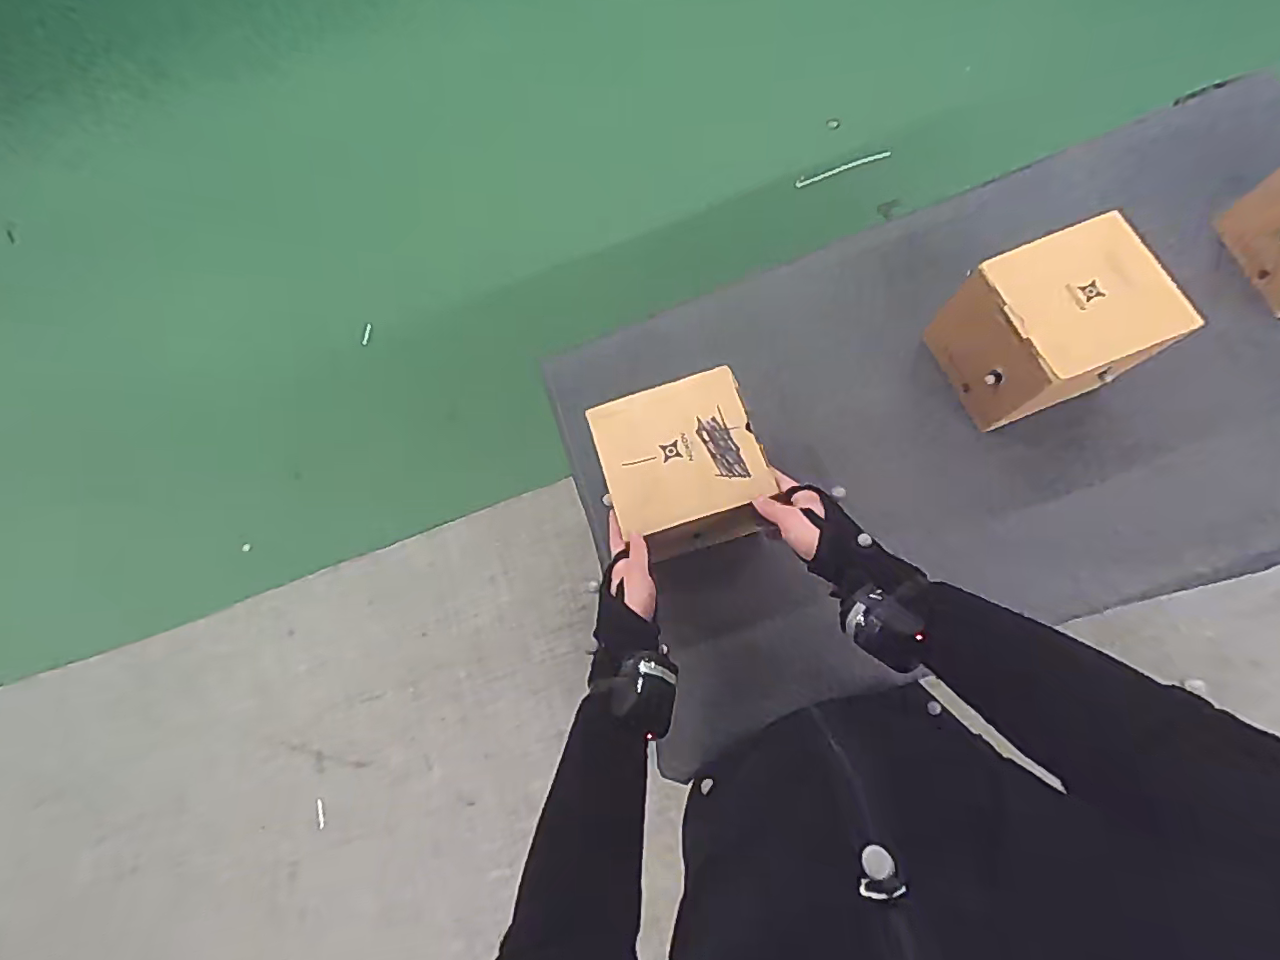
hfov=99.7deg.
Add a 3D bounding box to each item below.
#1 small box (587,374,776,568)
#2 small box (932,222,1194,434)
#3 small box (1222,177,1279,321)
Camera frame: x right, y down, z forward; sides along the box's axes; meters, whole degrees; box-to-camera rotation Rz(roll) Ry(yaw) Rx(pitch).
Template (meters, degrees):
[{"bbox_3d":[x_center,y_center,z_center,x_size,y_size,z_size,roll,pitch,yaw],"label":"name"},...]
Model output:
[{"bbox_3d":[0.049,-0.001,0.674,0.179,0.176,0.168,-18,71,1],"label":"small box"},{"bbox_3d":[0.507,-0.179,0.688,0.179,0.176,0.168,-22,75,-2],"label":"small box"},{"bbox_3d":[0.917,-0.328,0.685,0.179,0.176,0.168,-16,74,2],"label":"small box"}]
